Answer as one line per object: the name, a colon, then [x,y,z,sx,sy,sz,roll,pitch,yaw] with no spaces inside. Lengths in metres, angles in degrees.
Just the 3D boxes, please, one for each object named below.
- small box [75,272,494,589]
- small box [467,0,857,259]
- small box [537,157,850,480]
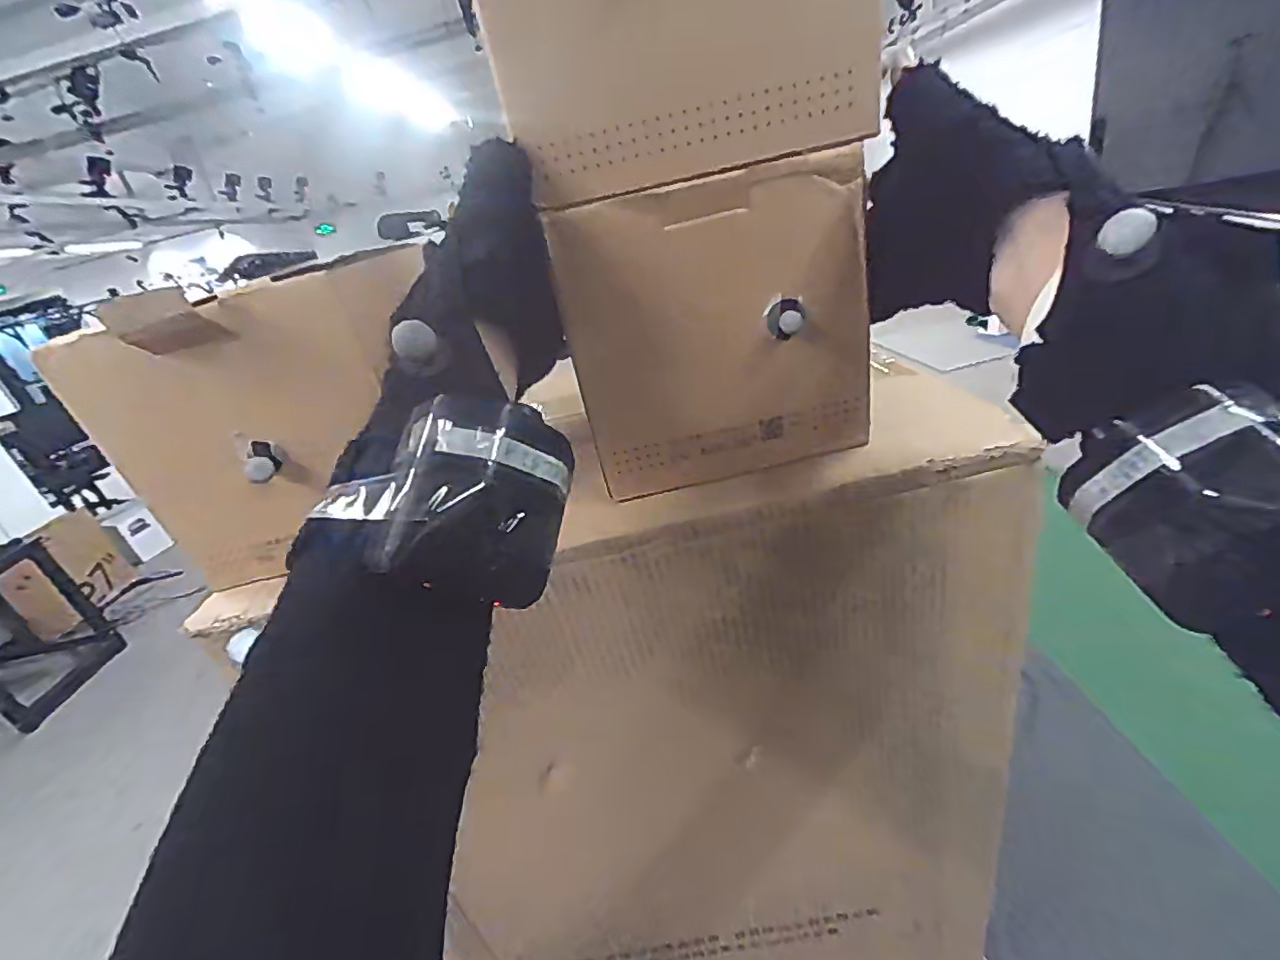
small box: [-0.223,-0.038,0.406,0.168,0.176,0.179,-16,27,1]
small box: [0.014,-0.238,0.312,0.179,0.176,0.168,-10,27,5]
small box: [0.035,-0.109,0.380,0.168,0.176,0.179,-10,27,0]
